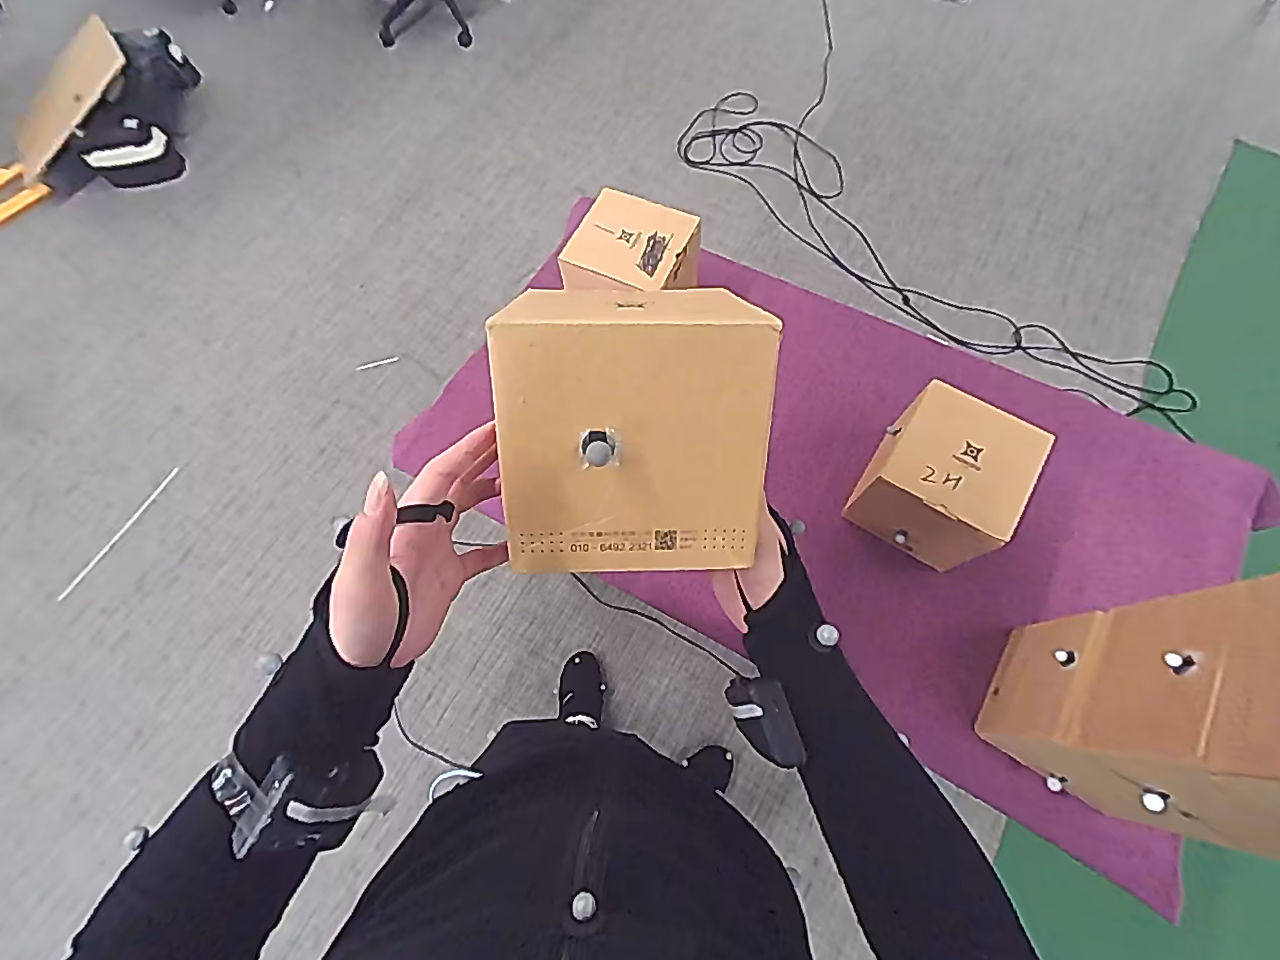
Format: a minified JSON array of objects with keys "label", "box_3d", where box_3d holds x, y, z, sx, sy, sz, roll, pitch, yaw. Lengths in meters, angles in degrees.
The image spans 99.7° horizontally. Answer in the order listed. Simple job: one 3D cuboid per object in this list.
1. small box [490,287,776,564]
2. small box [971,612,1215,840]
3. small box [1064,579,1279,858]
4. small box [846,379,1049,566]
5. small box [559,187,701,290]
[{"label":"small box","box_3d":[-0.006,-0.048,0.410,0.168,0.176,0.179,-1,25,-3]},{"label":"small box","box_3d":[0.554,0.285,0.657,0.179,0.176,0.168,32,72,14]},{"label":"small box","box_3d":[0.551,0.223,0.505,0.168,0.176,0.179,31,73,15]},{"label":"small box","box_3d":[0.422,-0.003,0.773,0.168,0.176,0.179,32,74,14]},{"label":"small box","box_3d":[-0.011,-0.350,0.921,0.179,0.176,0.168,24,72,12]}]
